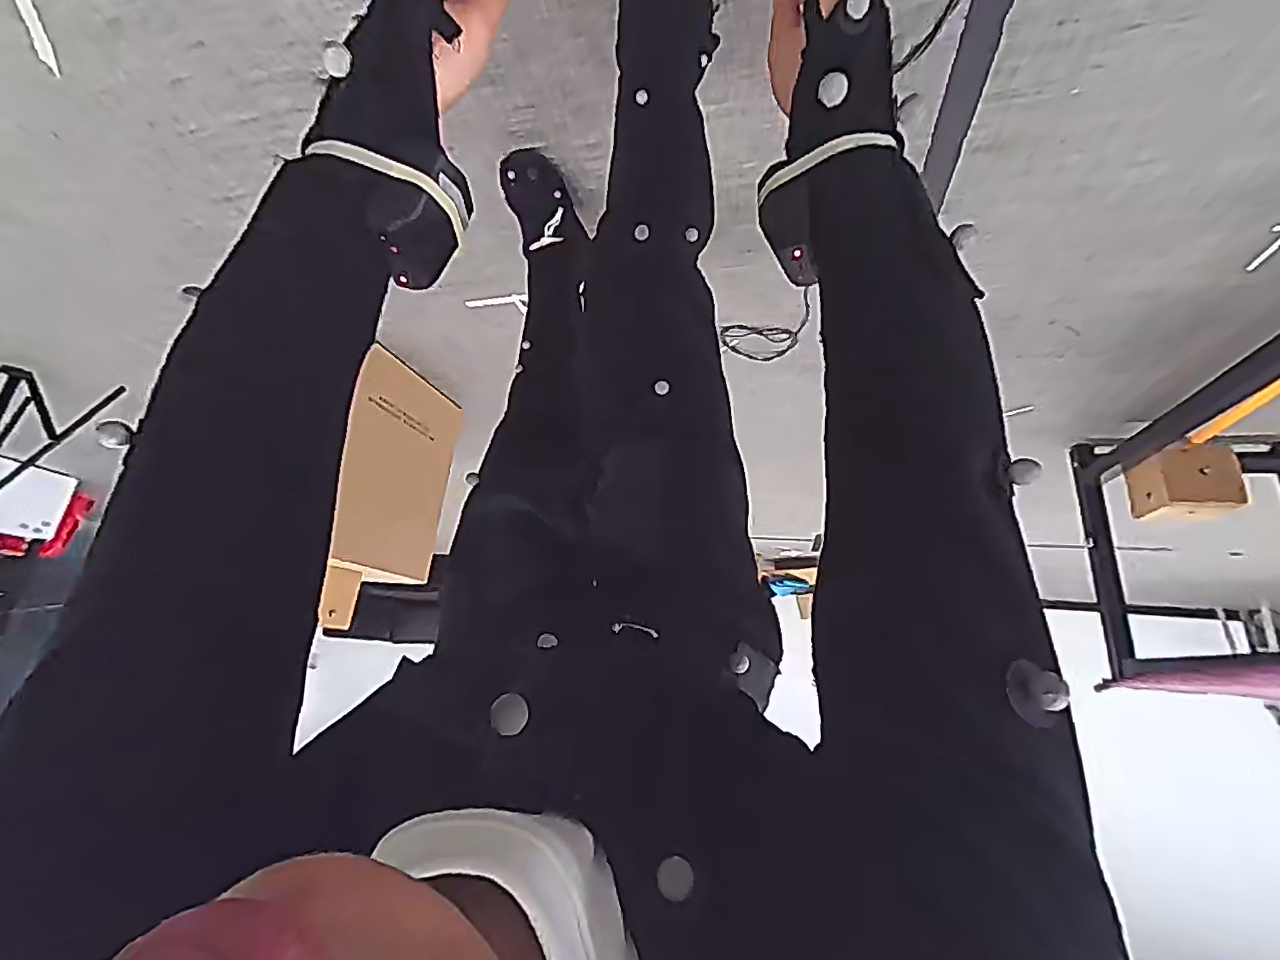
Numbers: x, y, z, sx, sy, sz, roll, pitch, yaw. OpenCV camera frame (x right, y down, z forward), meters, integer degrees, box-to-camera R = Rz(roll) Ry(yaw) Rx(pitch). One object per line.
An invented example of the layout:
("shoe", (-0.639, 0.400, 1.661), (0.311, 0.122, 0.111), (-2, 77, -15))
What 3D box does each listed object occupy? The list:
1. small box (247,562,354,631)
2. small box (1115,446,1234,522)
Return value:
("small box", (-0.946, 0.329, 1.521), (0.168, 0.176, 0.179), (-1, 161, 16))
("small box", (1.472, 0.011, 1.507), (0.168, 0.176, 0.179), (1, 160, 16))
